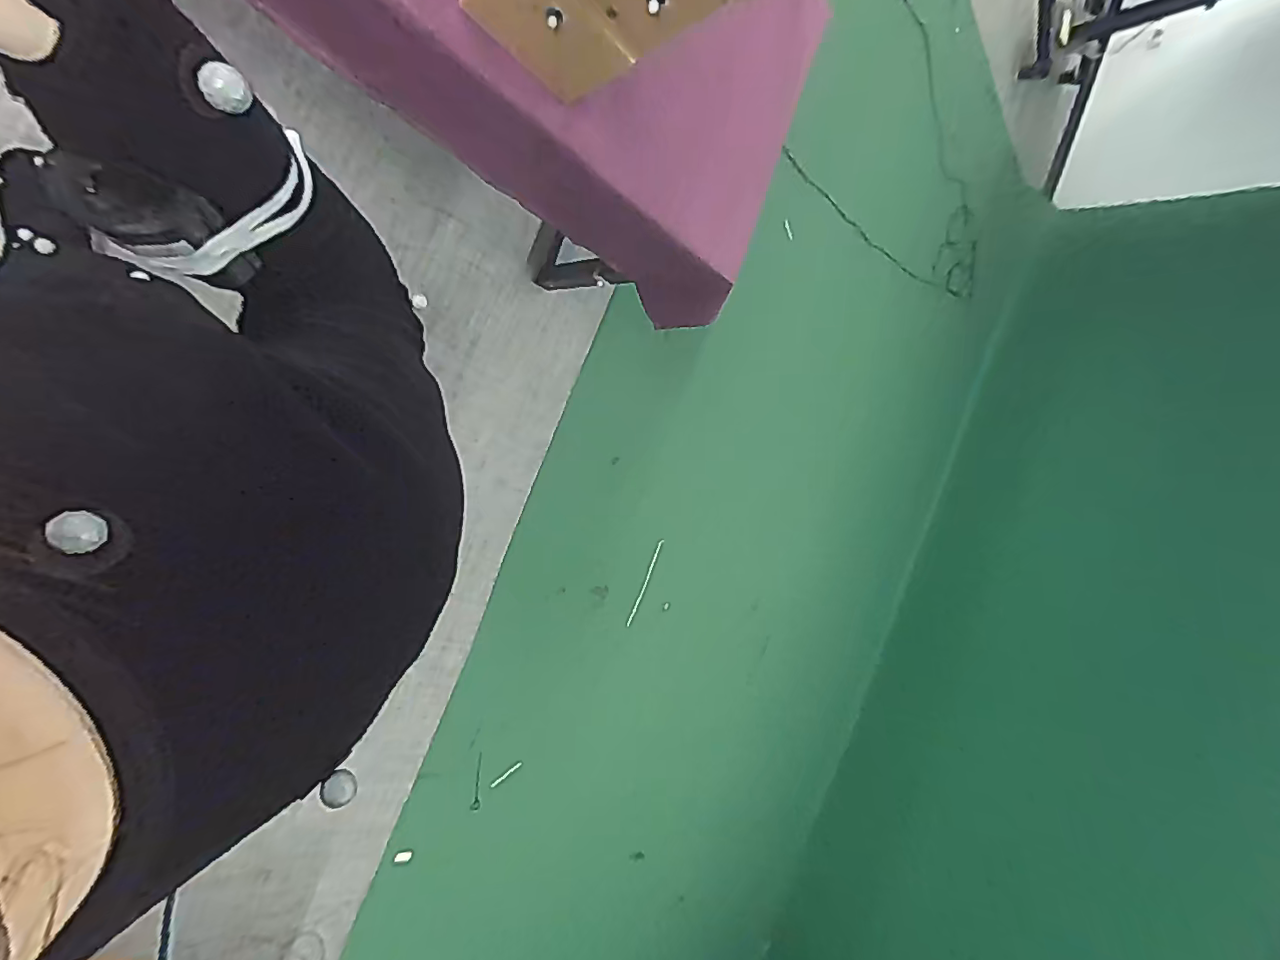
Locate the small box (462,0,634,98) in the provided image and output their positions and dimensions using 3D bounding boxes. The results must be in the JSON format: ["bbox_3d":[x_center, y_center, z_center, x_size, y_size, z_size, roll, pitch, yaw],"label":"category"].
[{"bbox_3d":[-0.097,-0.634,0.684,0.179,0.176,0.168,22,88,-43],"label":"small box"}]

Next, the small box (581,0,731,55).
[{"bbox_3d":[0.010,-0.604,0.565,0.168,0.176,0.179,19,89,-43],"label":"small box"}]
